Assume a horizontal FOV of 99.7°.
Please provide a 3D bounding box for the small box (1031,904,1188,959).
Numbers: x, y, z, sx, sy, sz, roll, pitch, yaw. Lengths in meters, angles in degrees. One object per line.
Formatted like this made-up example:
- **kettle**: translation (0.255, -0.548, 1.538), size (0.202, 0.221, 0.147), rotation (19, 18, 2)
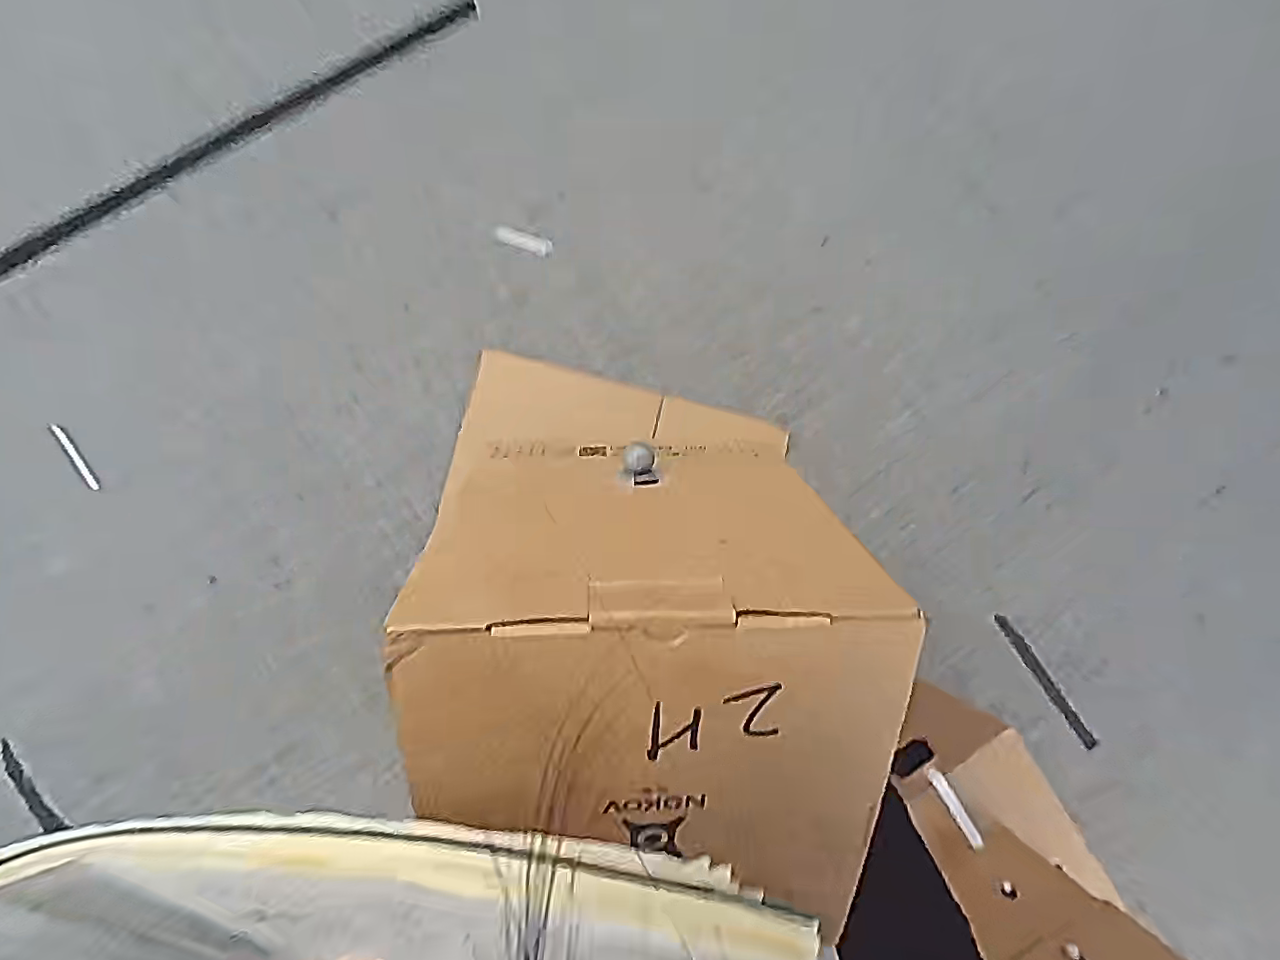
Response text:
- **small box**: translation (0.587, 0.653, 0.616), size (0.179, 0.176, 0.168), rotation (-32, 89, -4)

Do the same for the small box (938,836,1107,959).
- **small box**: translation (0.569, 0.670, 0.778), size (0.179, 0.176, 0.168), rotation (-29, 88, -6)
